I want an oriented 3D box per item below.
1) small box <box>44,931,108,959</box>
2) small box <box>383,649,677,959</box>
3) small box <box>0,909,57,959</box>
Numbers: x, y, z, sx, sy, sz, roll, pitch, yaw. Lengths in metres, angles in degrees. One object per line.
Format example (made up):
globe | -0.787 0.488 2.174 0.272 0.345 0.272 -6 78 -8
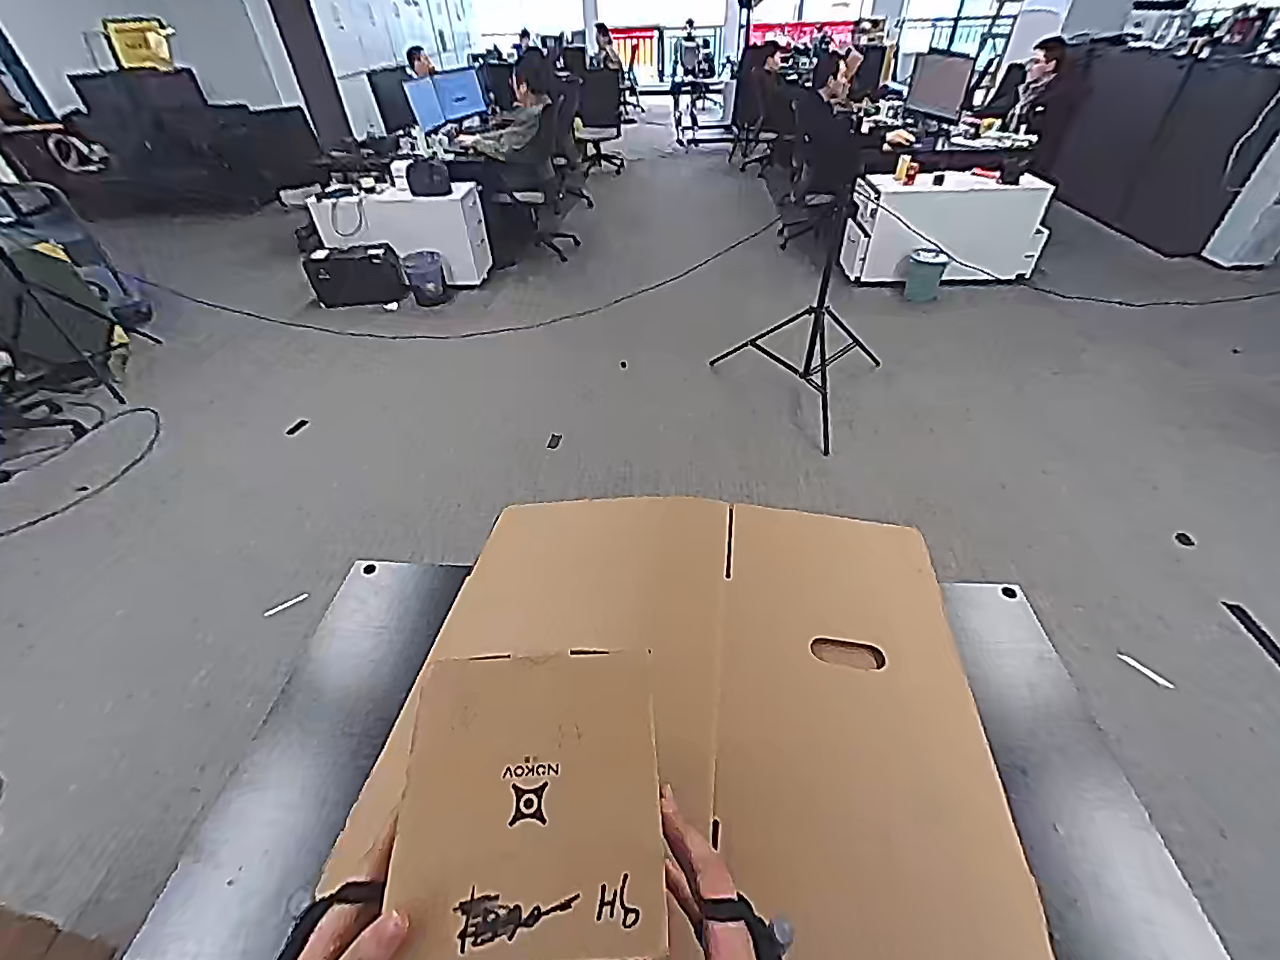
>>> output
small box | -1.224 1.018 1.066 0.168 0.176 0.179 -2 42 1
small box | -0.063 0.246 0.411 0.168 0.176 0.179 -3 52 -1
small box | -1.230 0.892 0.963 0.168 0.176 0.179 -3 40 -2
